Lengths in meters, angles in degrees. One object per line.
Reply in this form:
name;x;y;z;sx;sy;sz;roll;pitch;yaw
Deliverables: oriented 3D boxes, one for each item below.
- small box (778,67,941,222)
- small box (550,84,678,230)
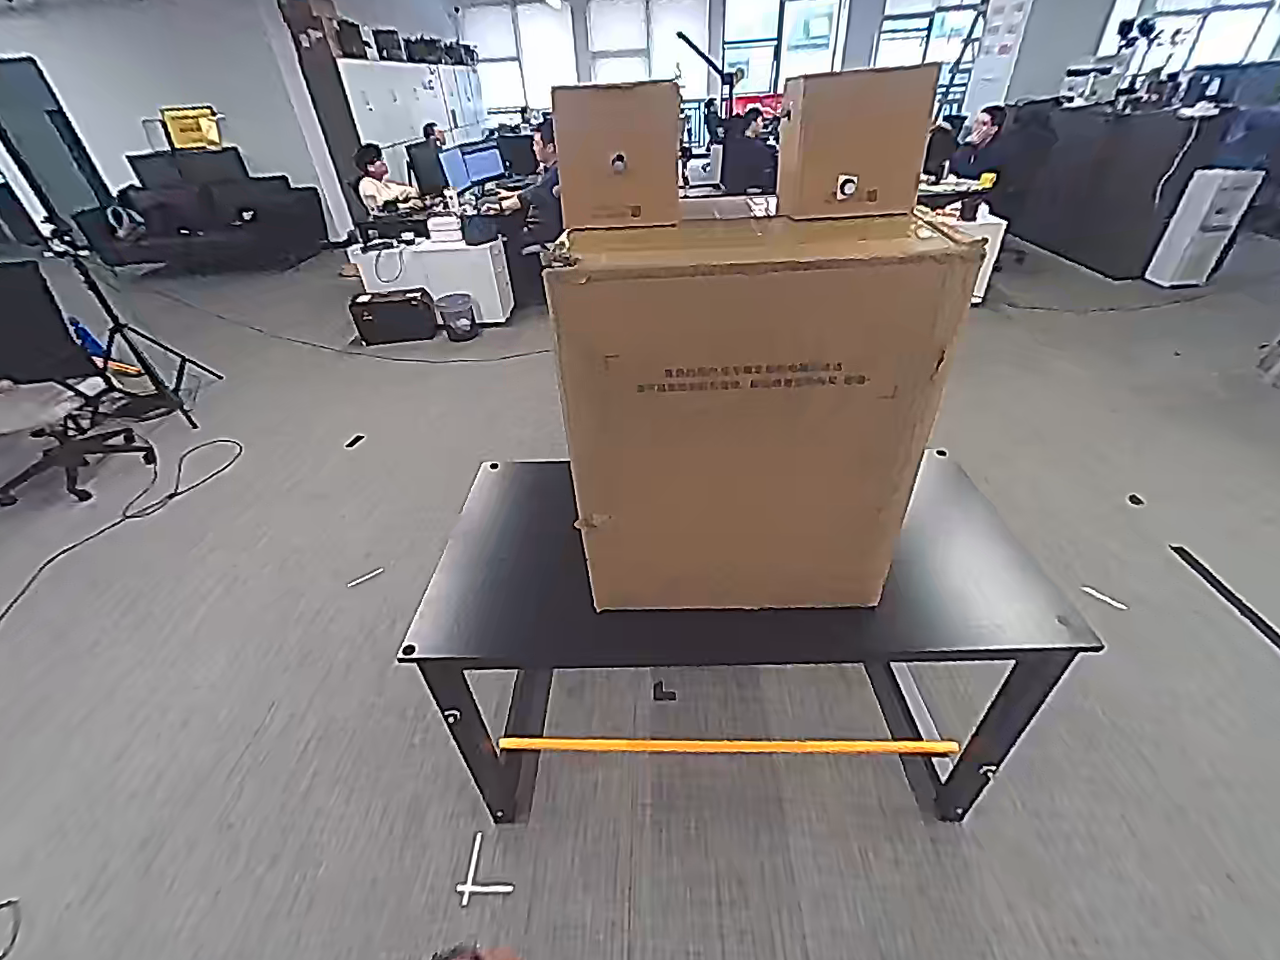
small box;0.294;-0.474;0.771;0.168;0.176;0.179;-2;35;6
small box;-0.033;-0.470;0.793;0.168;0.176;0.179;-3;36;-1
